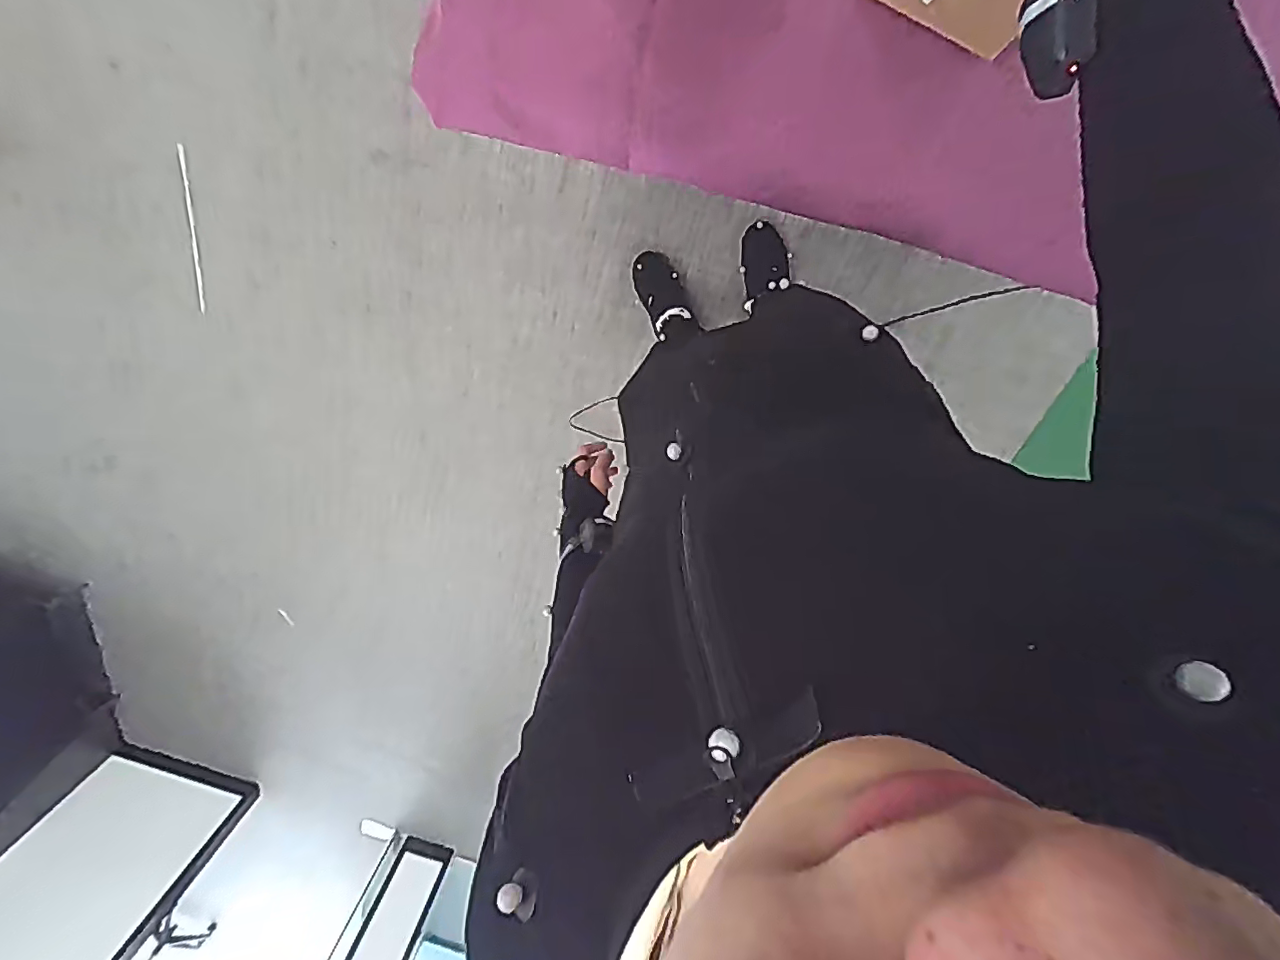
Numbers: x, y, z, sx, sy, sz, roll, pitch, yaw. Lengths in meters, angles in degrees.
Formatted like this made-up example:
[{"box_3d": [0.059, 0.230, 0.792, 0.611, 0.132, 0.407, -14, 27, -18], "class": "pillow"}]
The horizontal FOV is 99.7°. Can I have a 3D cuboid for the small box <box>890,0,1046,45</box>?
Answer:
[{"box_3d": [0.328, -0.541, 0.489, 0.179, 0.176, 0.168, 32, 117, 4], "class": "small box"}]
